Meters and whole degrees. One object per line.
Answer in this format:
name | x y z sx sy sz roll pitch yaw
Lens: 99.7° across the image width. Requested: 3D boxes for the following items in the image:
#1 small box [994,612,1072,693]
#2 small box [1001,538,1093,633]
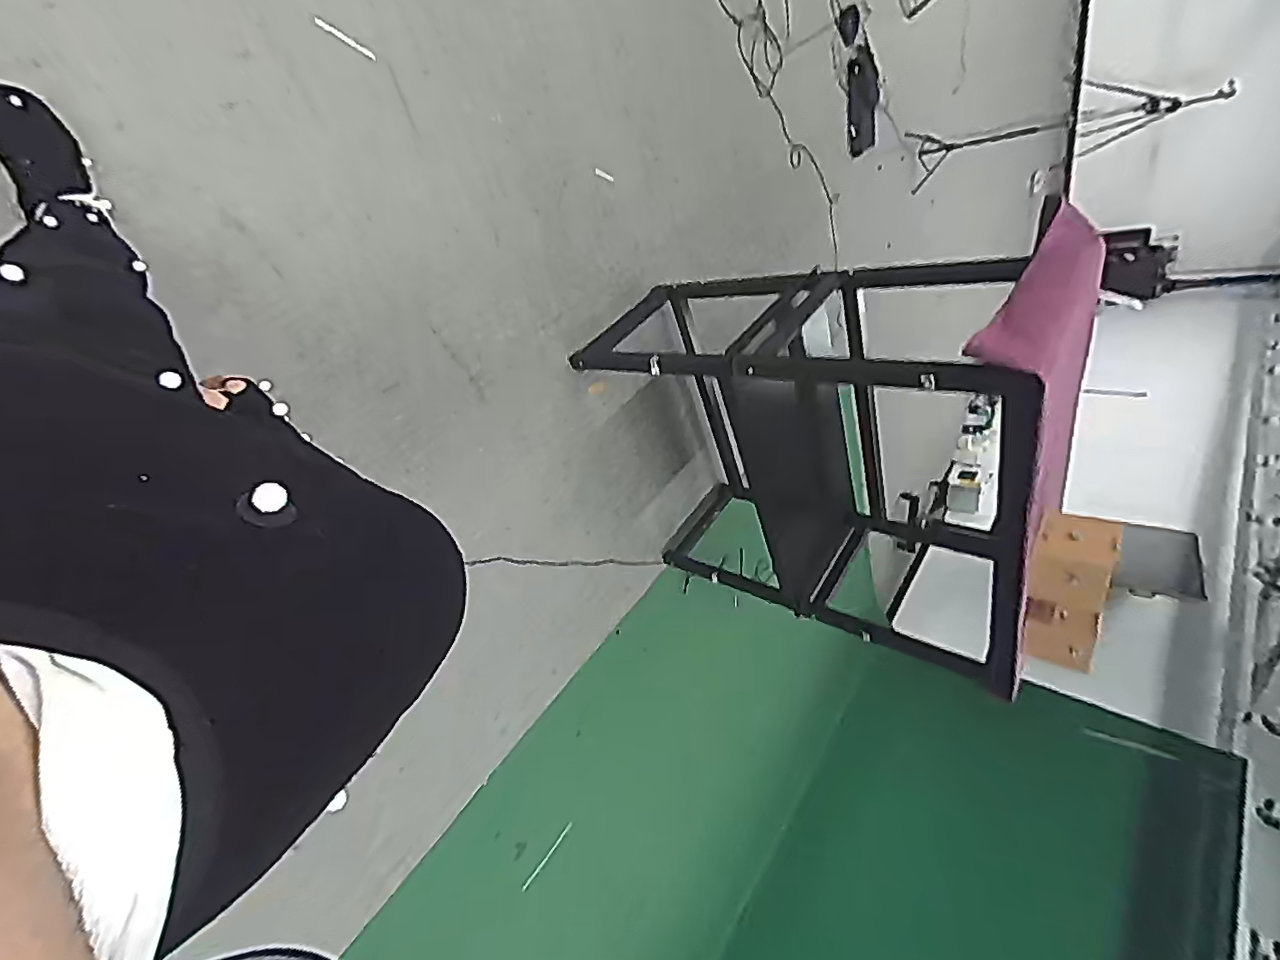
small box | 1.187 0.499 1.634 0.168 0.176 0.179 -43 130 -33
small box | 1.086 0.273 1.449 0.168 0.176 0.179 -44 130 -32
